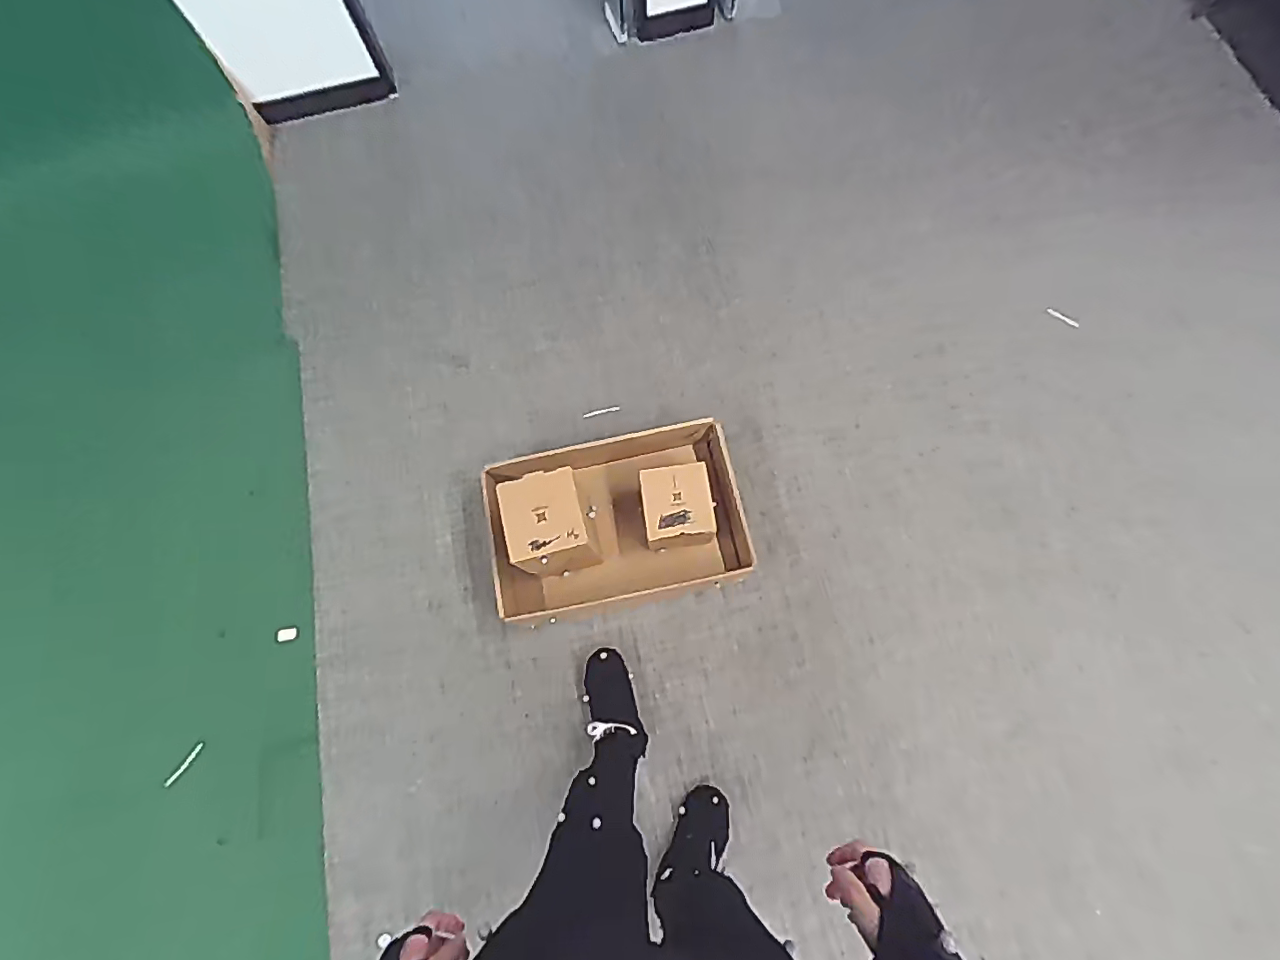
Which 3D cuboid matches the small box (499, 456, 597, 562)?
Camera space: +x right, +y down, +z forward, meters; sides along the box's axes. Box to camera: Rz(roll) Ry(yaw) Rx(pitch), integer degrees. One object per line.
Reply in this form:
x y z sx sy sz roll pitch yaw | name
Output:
-0.197 0.070 1.195 0.168 0.176 0.179 -14 74 -2 | small box
